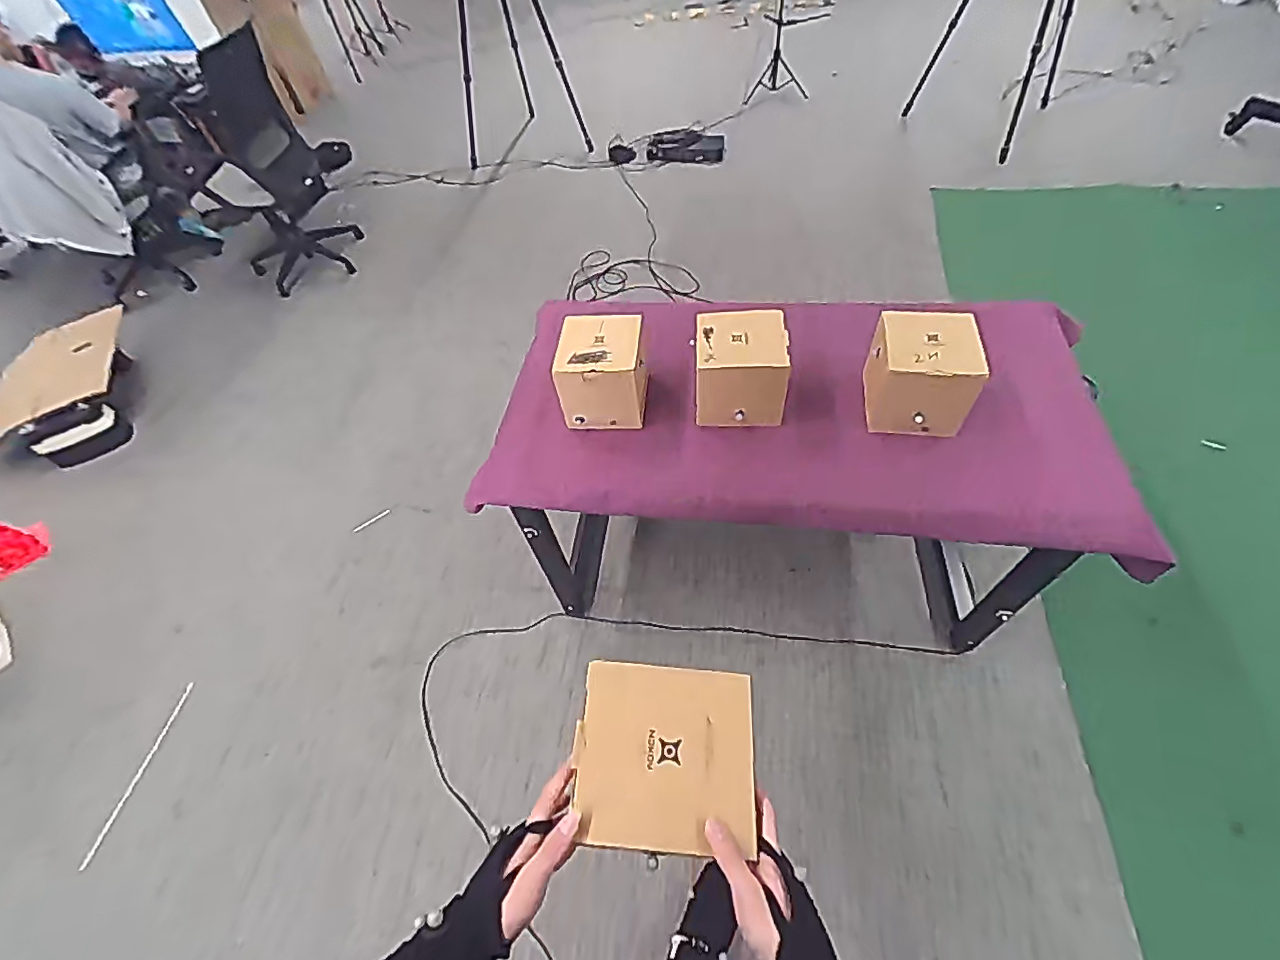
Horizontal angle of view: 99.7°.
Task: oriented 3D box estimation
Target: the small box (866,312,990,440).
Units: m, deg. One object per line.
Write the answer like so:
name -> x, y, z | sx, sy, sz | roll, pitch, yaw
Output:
small box -> 0.550, -0.204, 1.060 | 0.168, 0.176, 0.179 | 5, 55, 11

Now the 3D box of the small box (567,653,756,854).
small box -> 0.025, 0.305, 0.597 | 0.179, 0.176, 0.168 | 6, 56, 1

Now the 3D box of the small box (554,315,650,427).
small box -> -0.071, -0.227, 1.149 | 0.168, 0.176, 0.179 | 1, 53, 7

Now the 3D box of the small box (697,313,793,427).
small box -> 0.209, -0.223, 1.114 | 0.179, 0.176, 0.168 | 1, 54, 7
